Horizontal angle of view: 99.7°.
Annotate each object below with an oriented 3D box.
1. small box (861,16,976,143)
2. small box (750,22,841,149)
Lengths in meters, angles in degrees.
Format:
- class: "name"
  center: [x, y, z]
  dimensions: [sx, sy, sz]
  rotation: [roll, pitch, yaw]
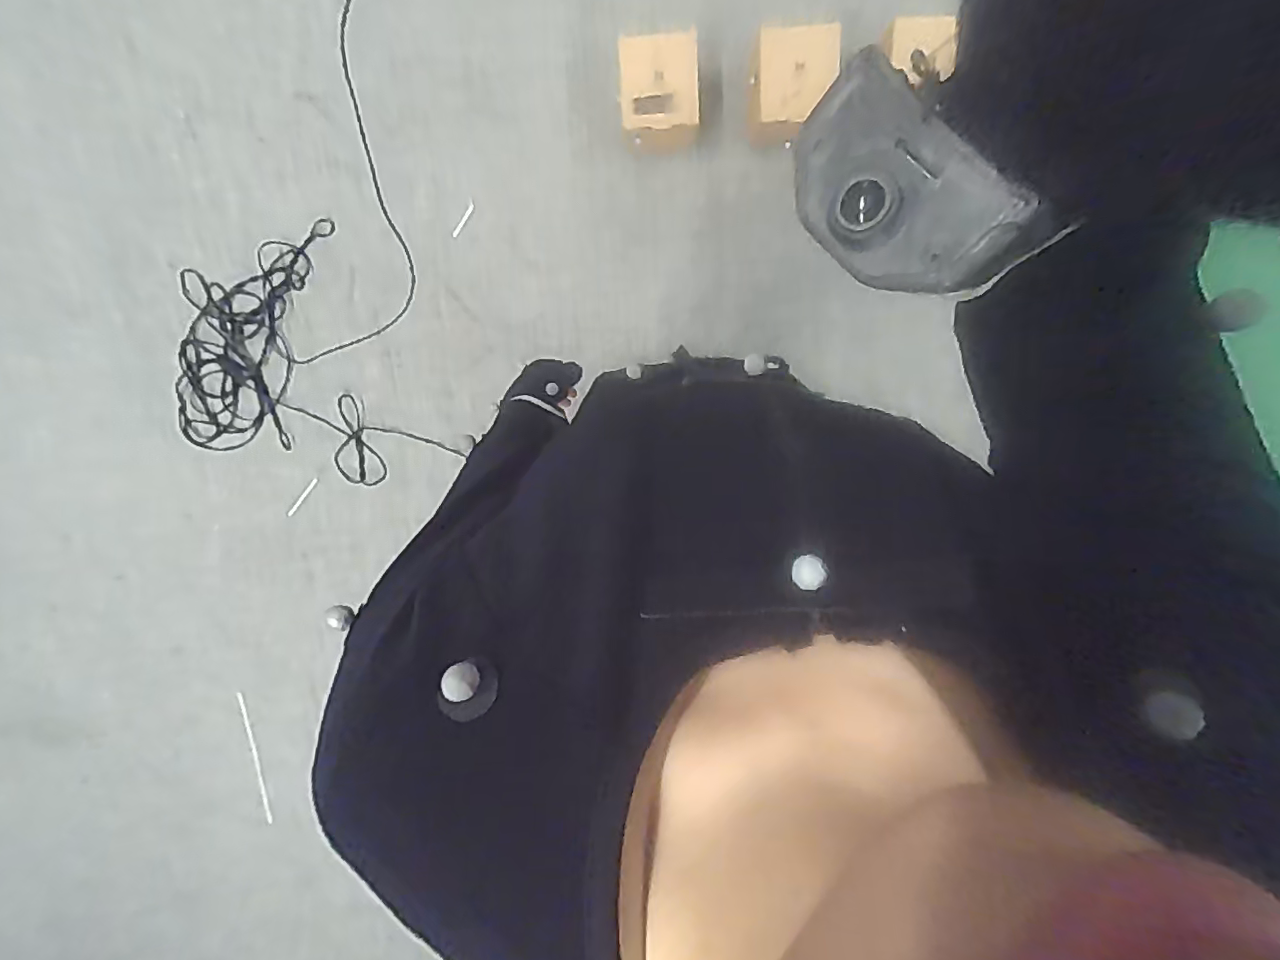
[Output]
- class: "small box"
  center: [0.606, -0.878, 1.198]
  dimensions: [0.168, 0.176, 0.179]
  rotation: [0, 103, 1]
- class: "small box"
  center: [0.339, -0.869, 1.206]
  dimensions: [0.168, 0.176, 0.179]
  rotation: [-2, 103, 3]
